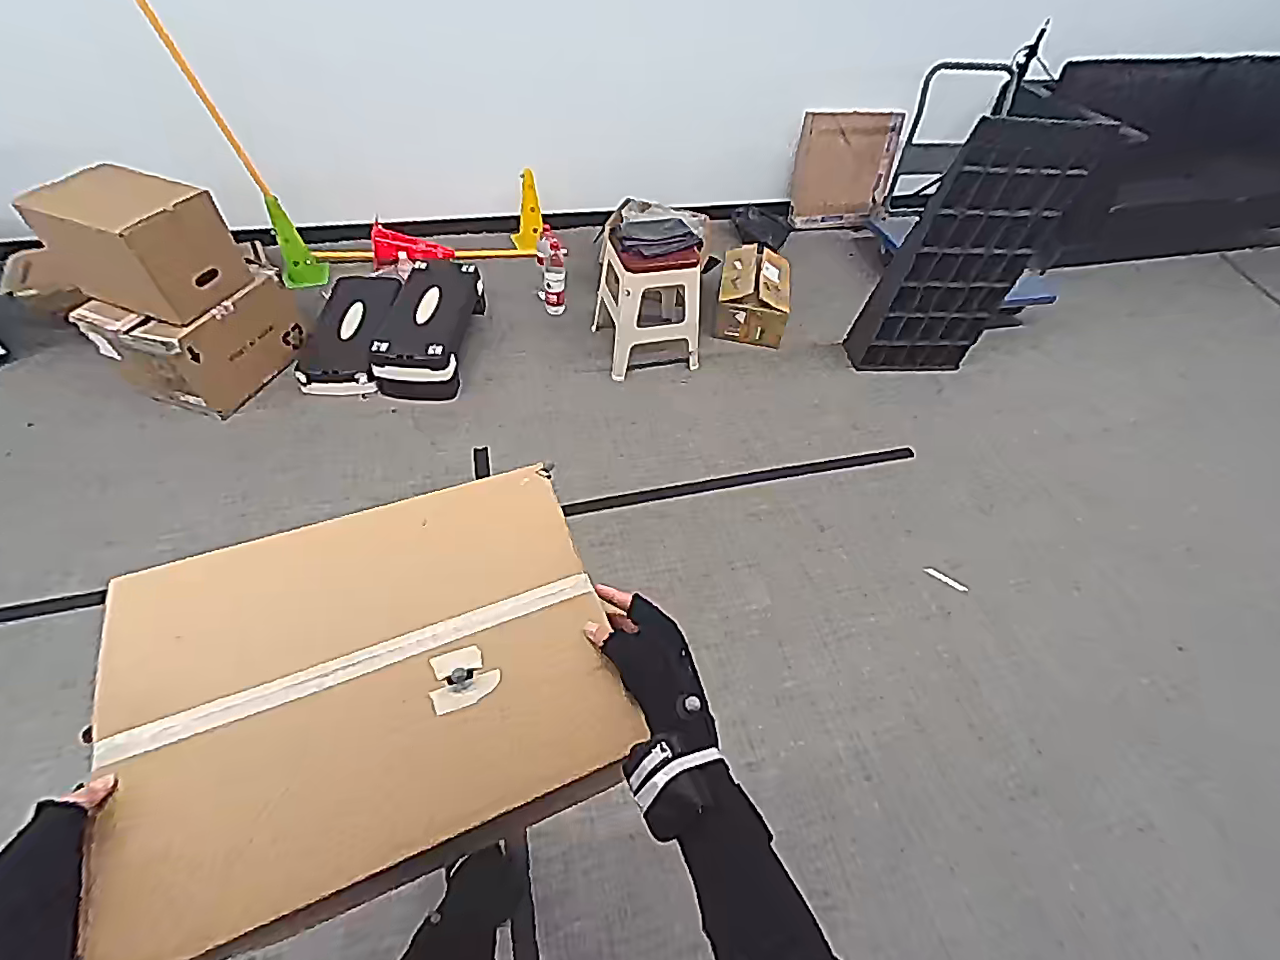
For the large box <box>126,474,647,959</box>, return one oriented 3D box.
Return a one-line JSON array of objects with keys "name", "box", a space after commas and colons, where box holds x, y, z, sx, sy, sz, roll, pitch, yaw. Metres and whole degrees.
[{"name": "large box", "box": [-0.248, 0.249, 0.622, 0.408, 0.320, 0.320, -16, 60, -18]}]
